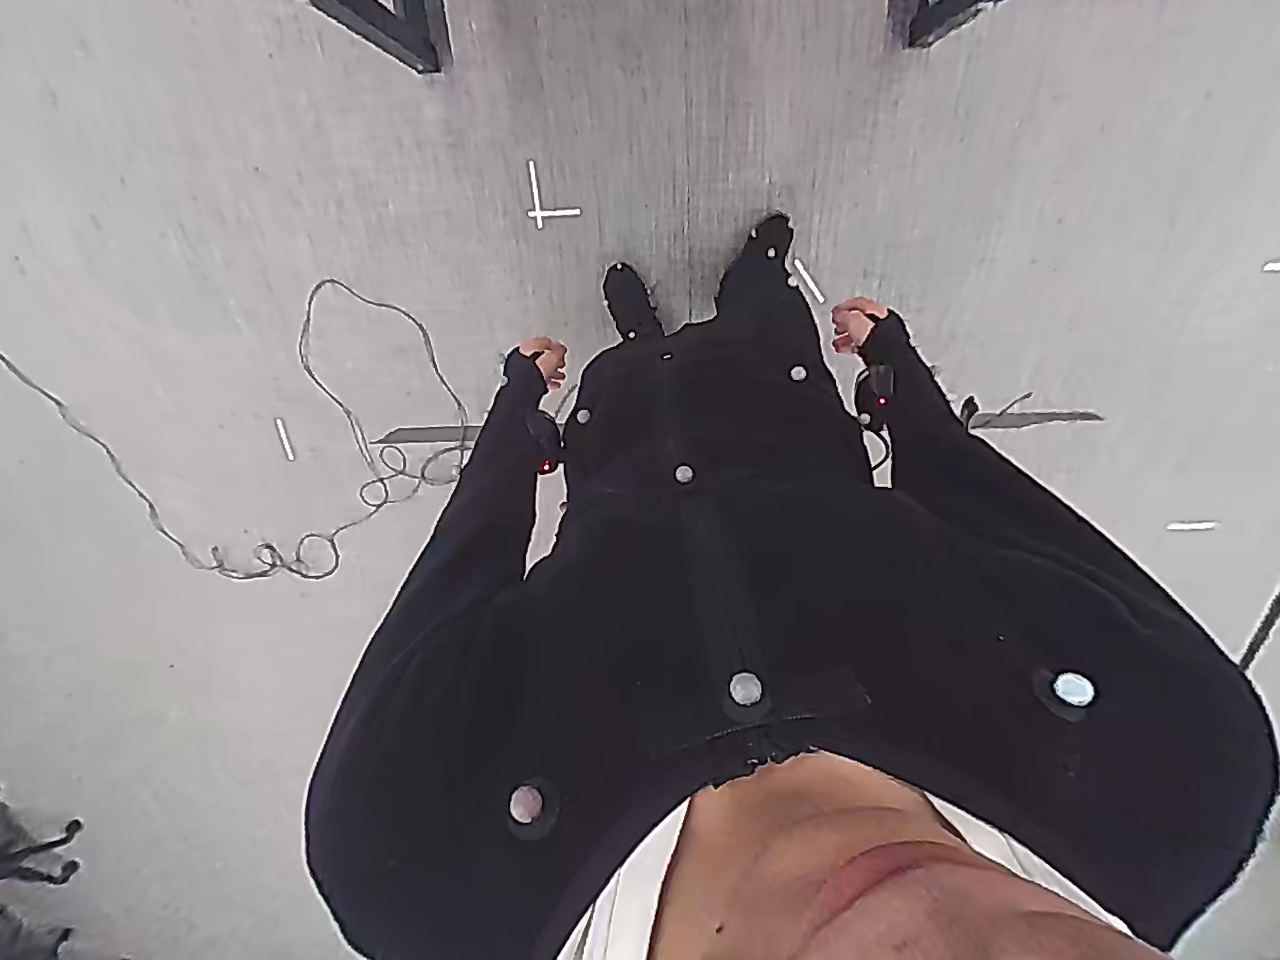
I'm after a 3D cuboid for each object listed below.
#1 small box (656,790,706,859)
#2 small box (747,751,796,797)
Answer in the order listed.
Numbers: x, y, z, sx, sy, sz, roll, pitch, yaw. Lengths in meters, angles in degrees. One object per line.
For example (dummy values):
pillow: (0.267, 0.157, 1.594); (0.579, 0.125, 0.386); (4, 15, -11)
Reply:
small box: (0.155, 1.338, 2.103); (0.179, 0.176, 0.168); (3, 116, 0)
small box: (0.542, 1.257, 2.242); (0.168, 0.176, 0.179); (-6, 115, 3)
